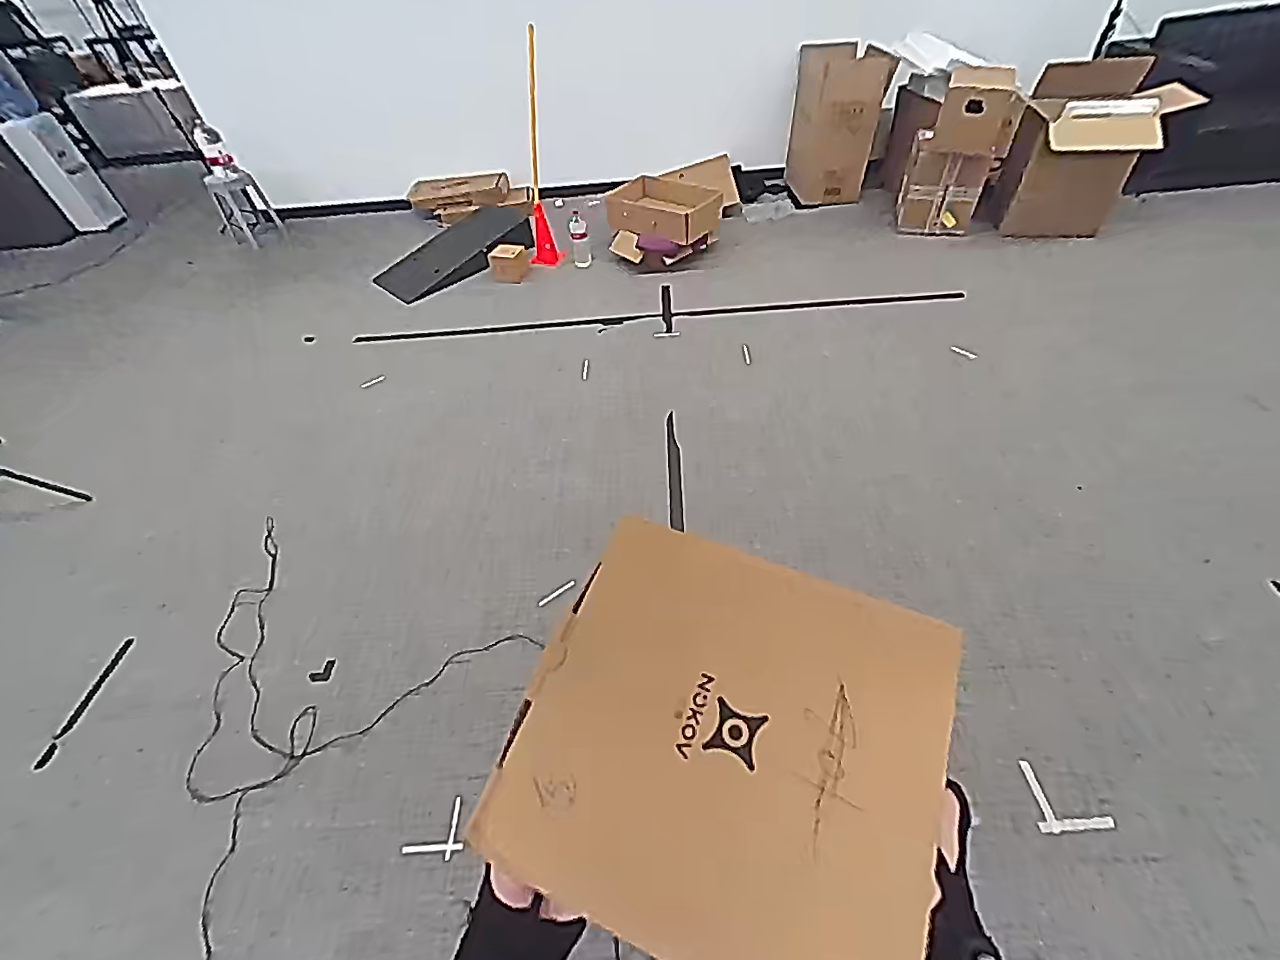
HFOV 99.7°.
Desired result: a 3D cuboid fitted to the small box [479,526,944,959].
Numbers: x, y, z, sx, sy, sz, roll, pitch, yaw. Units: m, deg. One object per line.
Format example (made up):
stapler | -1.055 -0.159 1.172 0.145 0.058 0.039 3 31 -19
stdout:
small box | 0.044 0.156 0.314 0.179 0.176 0.168 17 61 14
